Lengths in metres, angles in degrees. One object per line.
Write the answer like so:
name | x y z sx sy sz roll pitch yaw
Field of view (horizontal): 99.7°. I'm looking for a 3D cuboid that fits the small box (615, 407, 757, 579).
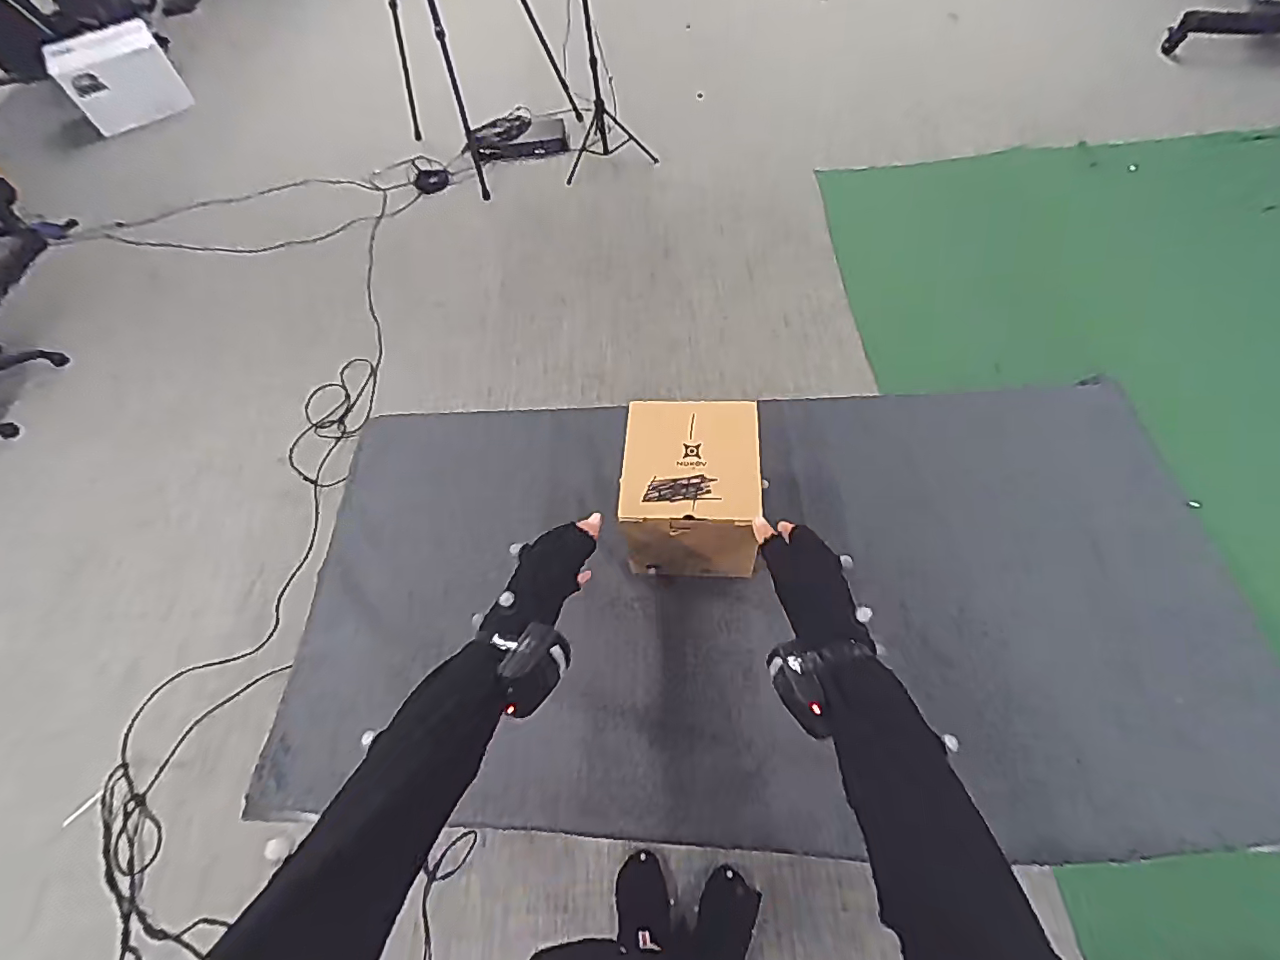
small box | 0.066 0.022 0.721 0.168 0.176 0.179 2 58 6
